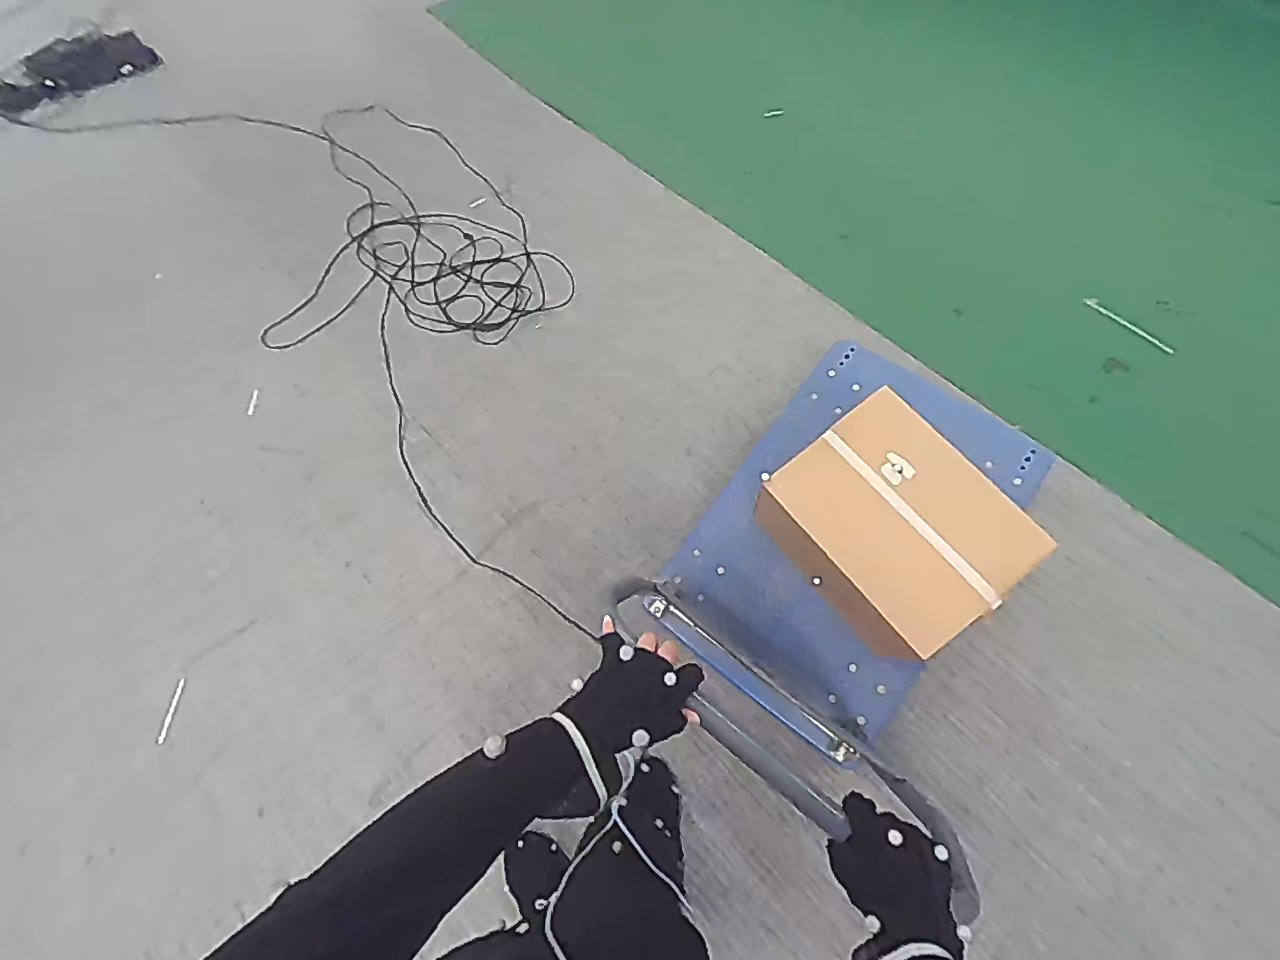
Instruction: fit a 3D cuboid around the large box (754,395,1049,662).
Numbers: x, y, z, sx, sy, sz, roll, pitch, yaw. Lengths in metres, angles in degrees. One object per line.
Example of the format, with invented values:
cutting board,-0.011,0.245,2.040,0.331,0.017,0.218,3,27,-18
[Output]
large box,0.486,0.112,1.114,0.320,0.320,0.408,-38,72,-4
